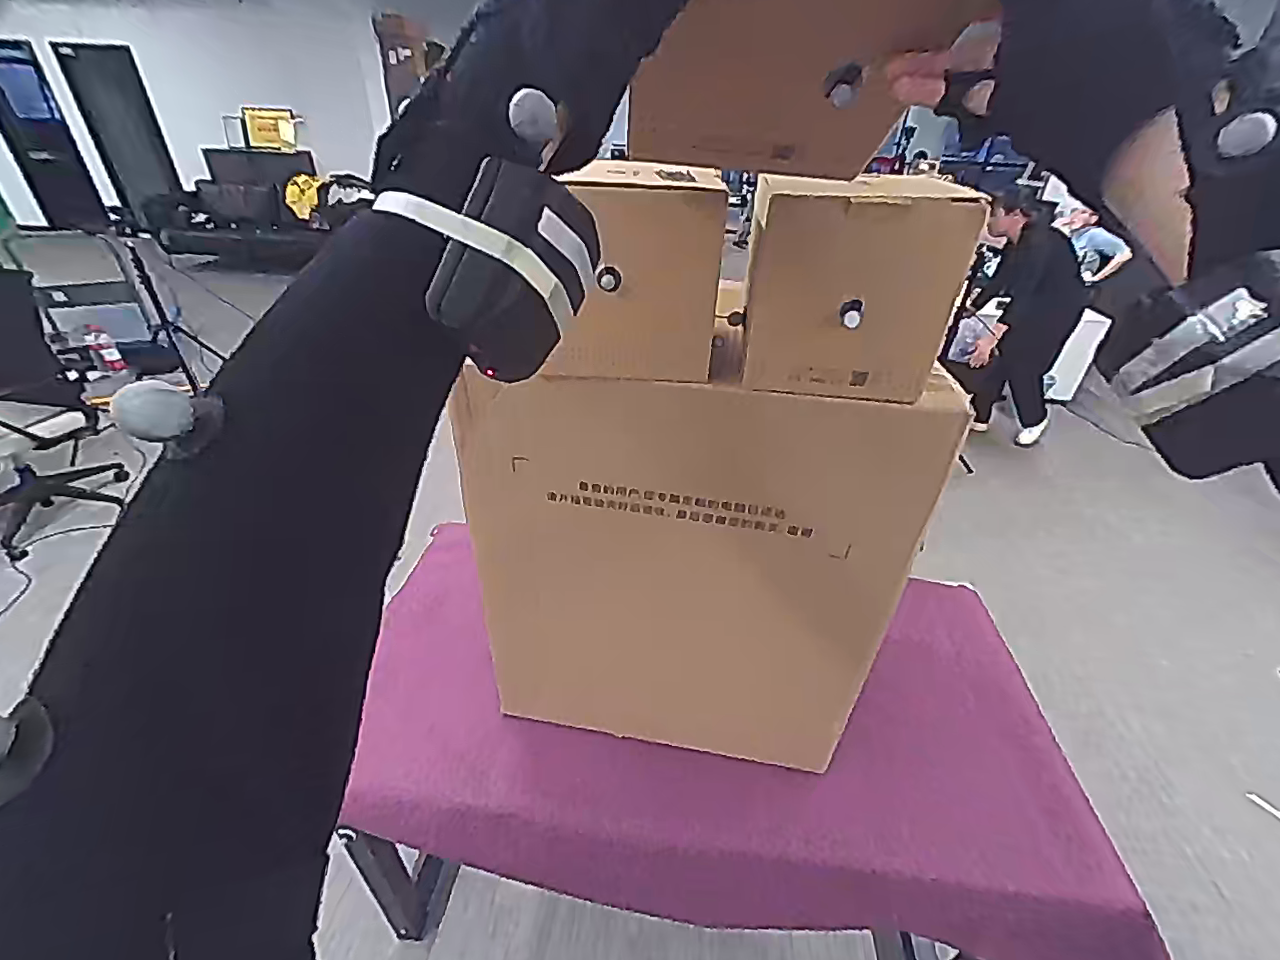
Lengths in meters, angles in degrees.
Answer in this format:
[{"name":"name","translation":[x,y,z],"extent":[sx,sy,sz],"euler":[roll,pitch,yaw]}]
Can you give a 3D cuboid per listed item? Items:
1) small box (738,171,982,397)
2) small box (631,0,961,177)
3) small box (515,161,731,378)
[{"name":"small box","translation":[0.190,-0.195,0.528],"extent":[0.168,0.176,0.179],"euler":[7,36,6]},{"name":"small box","translation":[0.083,-0.312,0.316],"extent":[0.168,0.179,0.176],"euler":[4,-5,-3]},{"name":"small box","translation":[-0.012,-0.211,0.540],"extent":[0.179,0.176,0.168],"euler":[2,35,1]}]
